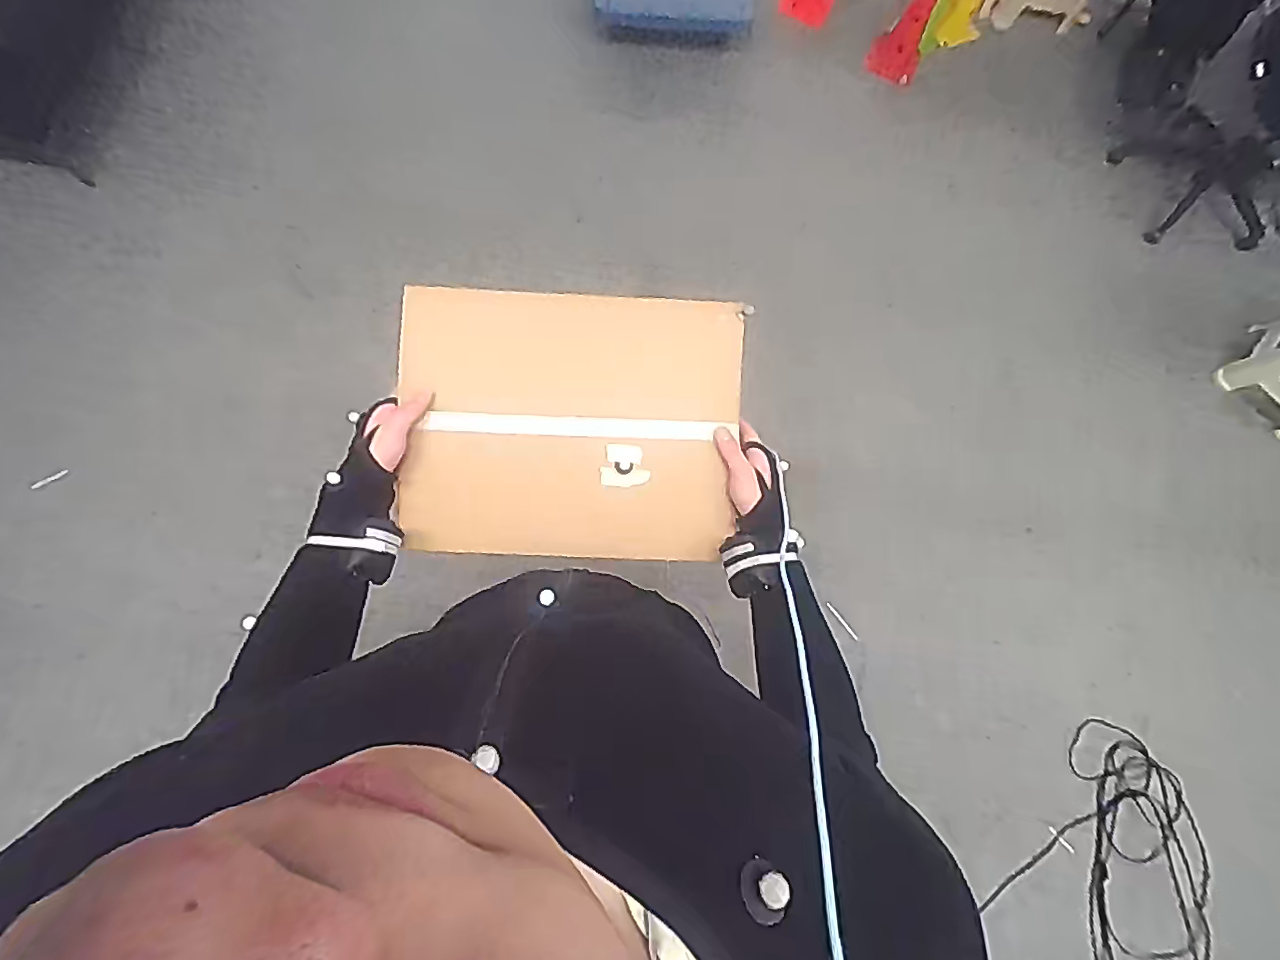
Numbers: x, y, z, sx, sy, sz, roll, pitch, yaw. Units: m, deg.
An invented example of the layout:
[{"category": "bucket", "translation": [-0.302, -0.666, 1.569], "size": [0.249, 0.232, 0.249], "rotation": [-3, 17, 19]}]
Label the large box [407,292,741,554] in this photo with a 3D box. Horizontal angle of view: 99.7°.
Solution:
[{"category": "large box", "translation": [-0.086, -0.065, 0.802], "size": [0.408, 0.320, 0.320], "rotation": [2, 90, -2]}]
